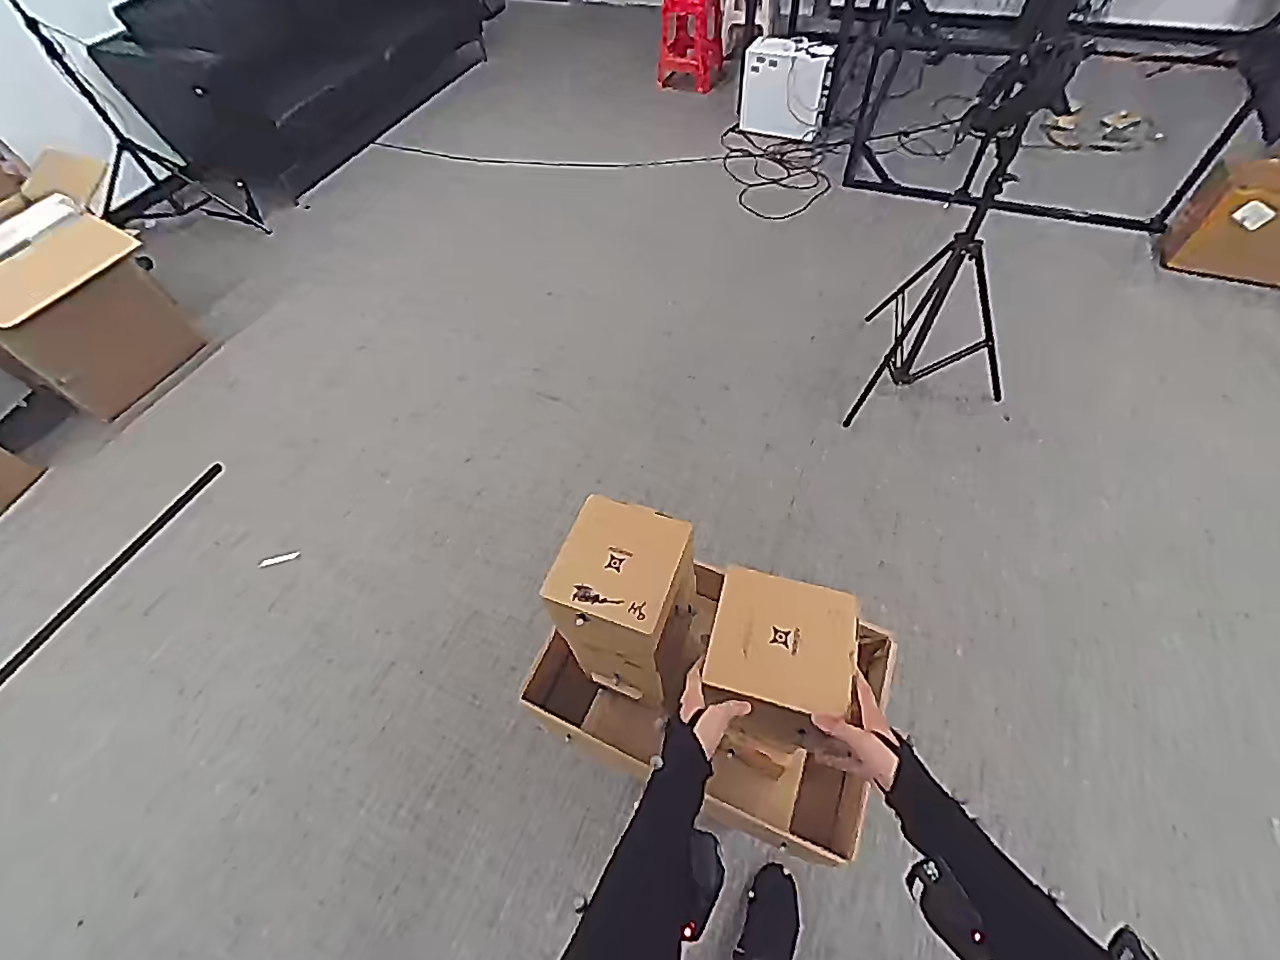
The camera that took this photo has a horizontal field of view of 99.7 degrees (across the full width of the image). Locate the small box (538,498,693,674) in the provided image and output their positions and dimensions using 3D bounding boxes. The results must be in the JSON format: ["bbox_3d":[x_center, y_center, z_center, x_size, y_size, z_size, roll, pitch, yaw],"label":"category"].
[{"bbox_3d":[-0.027,0.160,0.809,0.168,0.176,0.179,15,57,17],"label":"small box"}]

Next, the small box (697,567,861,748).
[{"bbox_3d":[0.180,0.245,0.729,0.179,0.176,0.168,12,55,12],"label":"small box"}]

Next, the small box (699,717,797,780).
[{"bbox_3d":[0.215,0.426,1.006,0.168,0.176,0.179,19,60,19],"label":"small box"}]

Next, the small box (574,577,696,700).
[{"bbox_3d":[-0.008,0.256,0.943,0.168,0.176,0.179,16,59,16],"label":"small box"}]
